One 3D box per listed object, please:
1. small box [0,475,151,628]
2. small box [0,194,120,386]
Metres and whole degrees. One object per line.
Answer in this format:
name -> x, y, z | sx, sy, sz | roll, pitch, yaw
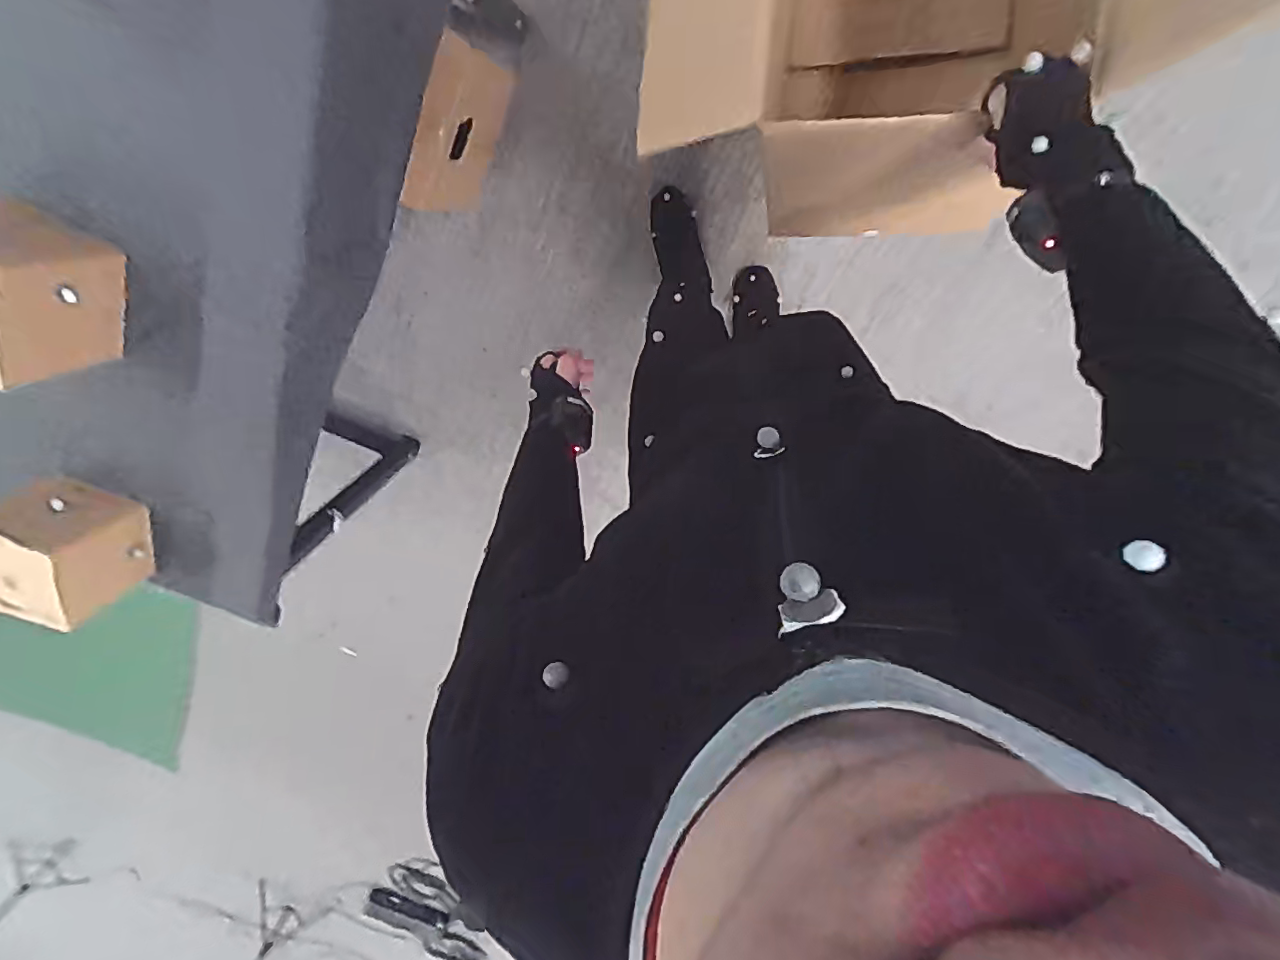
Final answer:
small box -> -1.005, 0.116, 0.938 | 0.168, 0.176, 0.179 | 20, 117, -3
small box -> -0.849, -0.260, 0.720 | 0.168, 0.176, 0.179 | 28, 119, -6
